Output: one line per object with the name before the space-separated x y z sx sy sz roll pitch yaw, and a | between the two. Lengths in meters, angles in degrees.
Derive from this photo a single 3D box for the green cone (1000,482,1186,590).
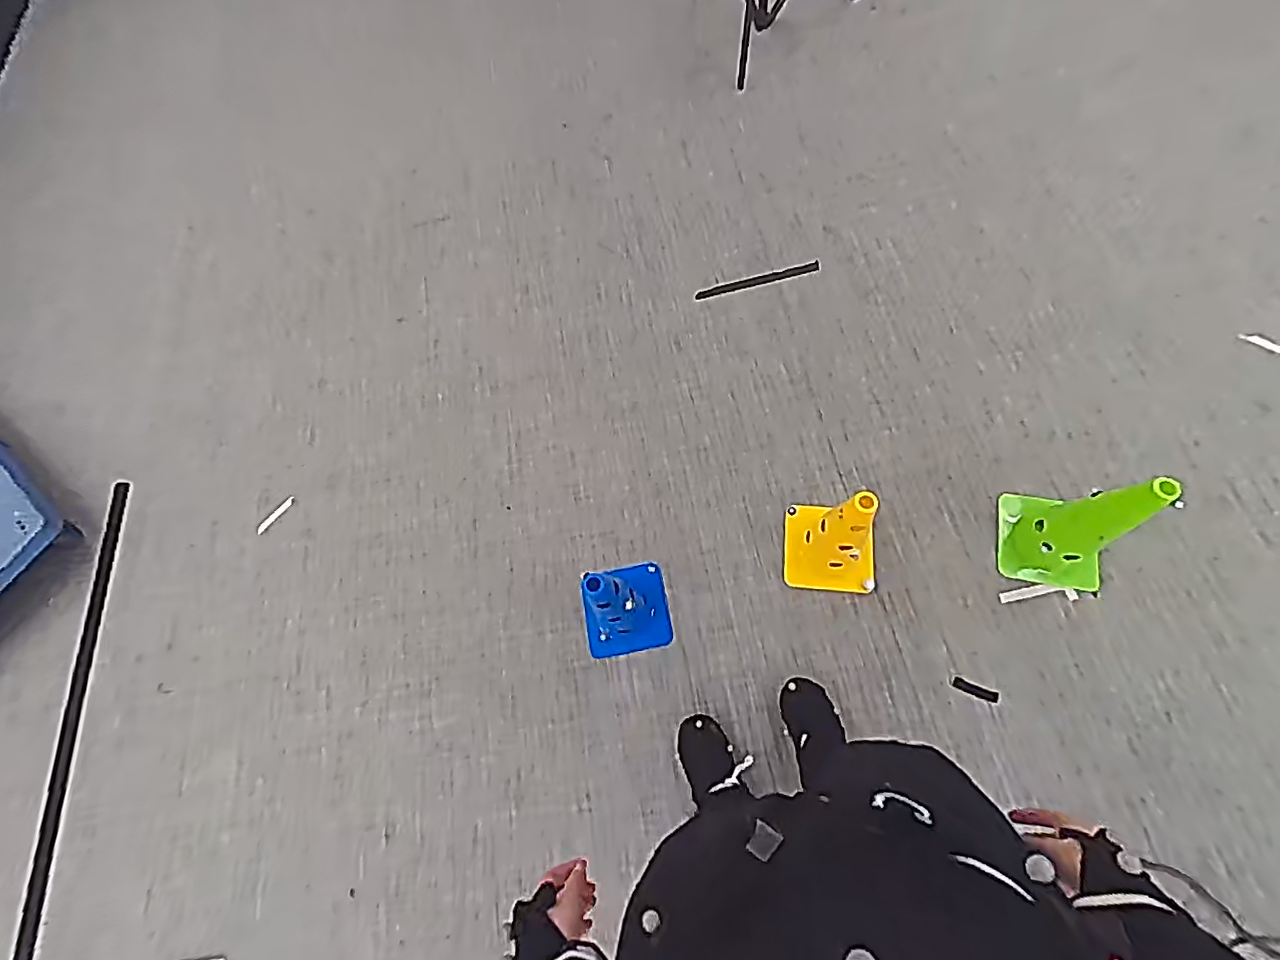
green cone | 0.889 0.077 1.047 0.200 0.368 0.202 8 72 12
